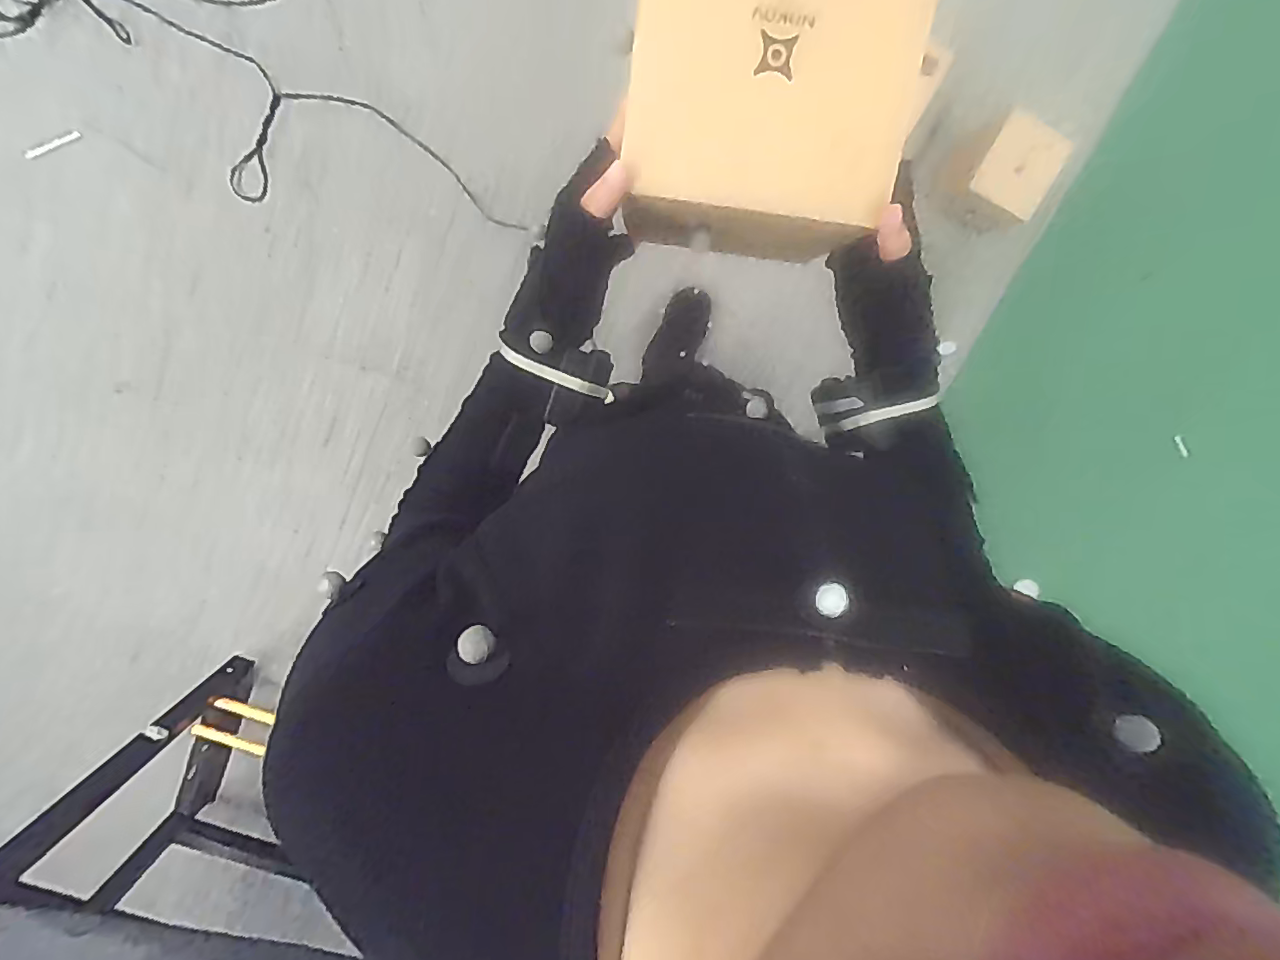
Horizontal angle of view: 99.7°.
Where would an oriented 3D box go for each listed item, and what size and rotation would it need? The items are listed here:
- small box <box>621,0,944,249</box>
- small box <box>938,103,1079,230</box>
[{"bbox_3d":[0.083,-0.271,0.375,0.168,0.176,0.179,8,104,-1],"label":"small box"},{"bbox_3d":[0.823,-0.700,1.234,0.168,0.176,0.179,25,103,-9],"label":"small box"}]
